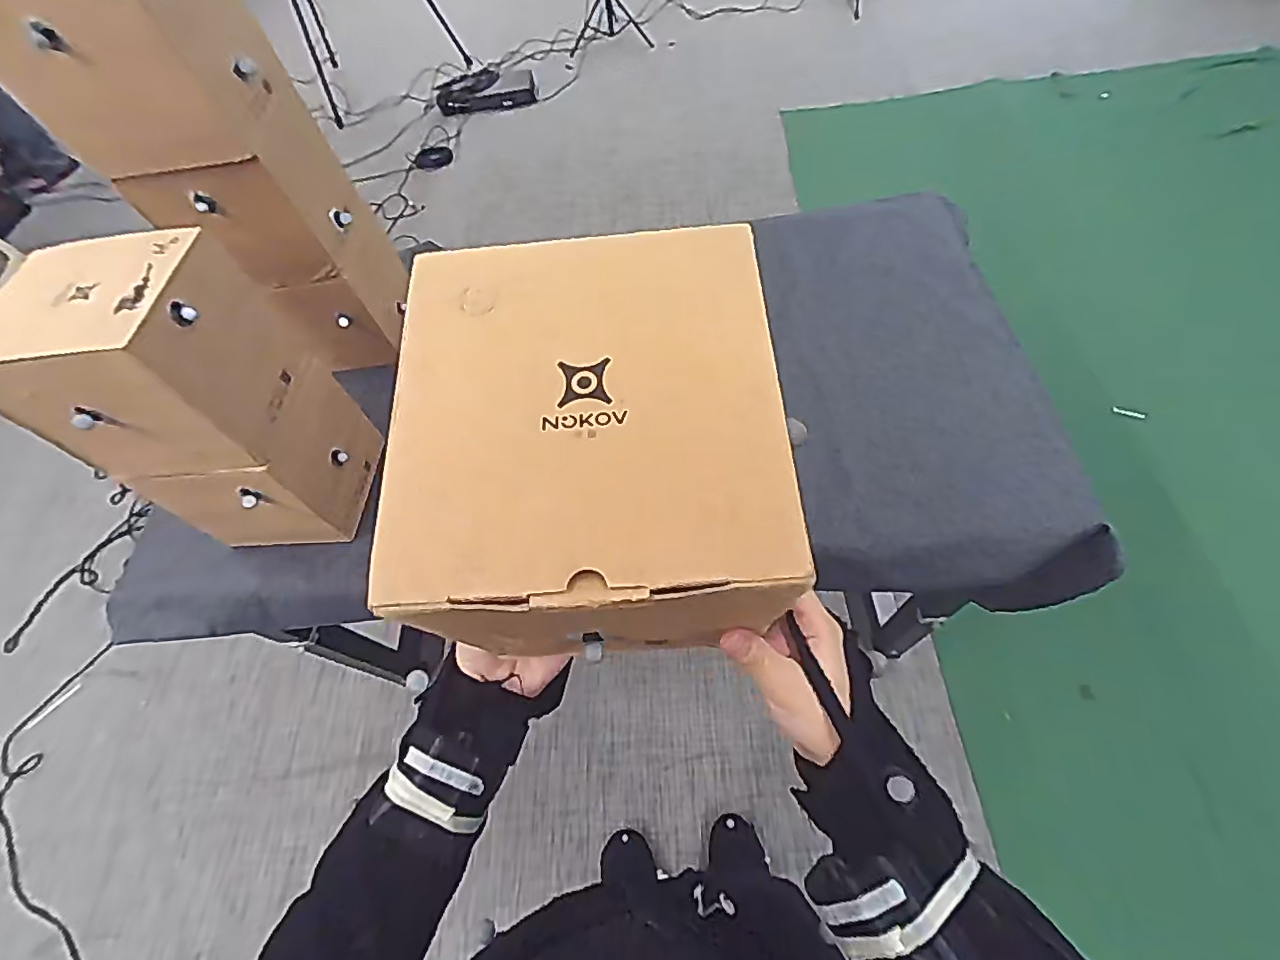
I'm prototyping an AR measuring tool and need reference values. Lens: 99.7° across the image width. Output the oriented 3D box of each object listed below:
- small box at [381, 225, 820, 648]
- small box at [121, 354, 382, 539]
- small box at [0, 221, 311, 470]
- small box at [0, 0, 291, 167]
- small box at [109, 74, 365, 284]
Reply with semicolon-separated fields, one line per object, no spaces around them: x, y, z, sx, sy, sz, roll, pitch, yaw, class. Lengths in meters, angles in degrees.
-0.015;-0.008;0.304;0.168;0.176;0.179;-4;68;2;small box
-0.459;-0.035;0.677;0.179;0.176;0.168;-3;58;6;small box
-0.480;-0.123;0.541;0.179;0.176;0.168;-6;58;4;small box
-0.502;-0.442;0.540;0.179;0.176;0.168;-6;62;3;small box
-0.489;-0.371;0.688;0.179;0.176;0.168;-7;62;2;small box
